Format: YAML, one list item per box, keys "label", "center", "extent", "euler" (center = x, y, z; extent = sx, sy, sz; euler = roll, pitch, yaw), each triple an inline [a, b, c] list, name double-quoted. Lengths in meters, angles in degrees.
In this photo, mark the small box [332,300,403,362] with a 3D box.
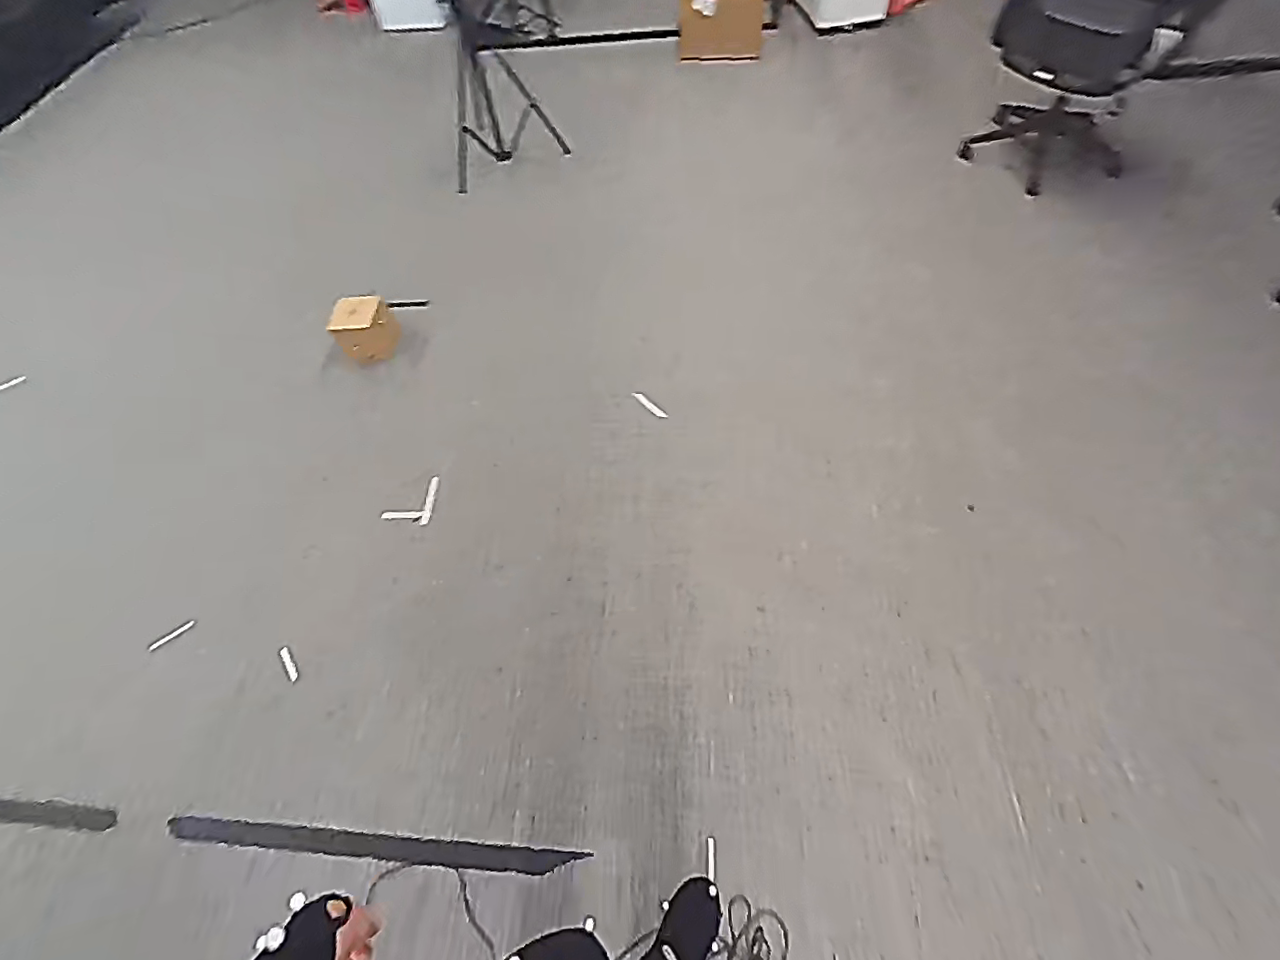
- label: "small box"
  center: [-1.038, -0.567, 2.078]
  extent: [0.168, 0.176, 0.179]
  euler: [-1, 57, 4]
